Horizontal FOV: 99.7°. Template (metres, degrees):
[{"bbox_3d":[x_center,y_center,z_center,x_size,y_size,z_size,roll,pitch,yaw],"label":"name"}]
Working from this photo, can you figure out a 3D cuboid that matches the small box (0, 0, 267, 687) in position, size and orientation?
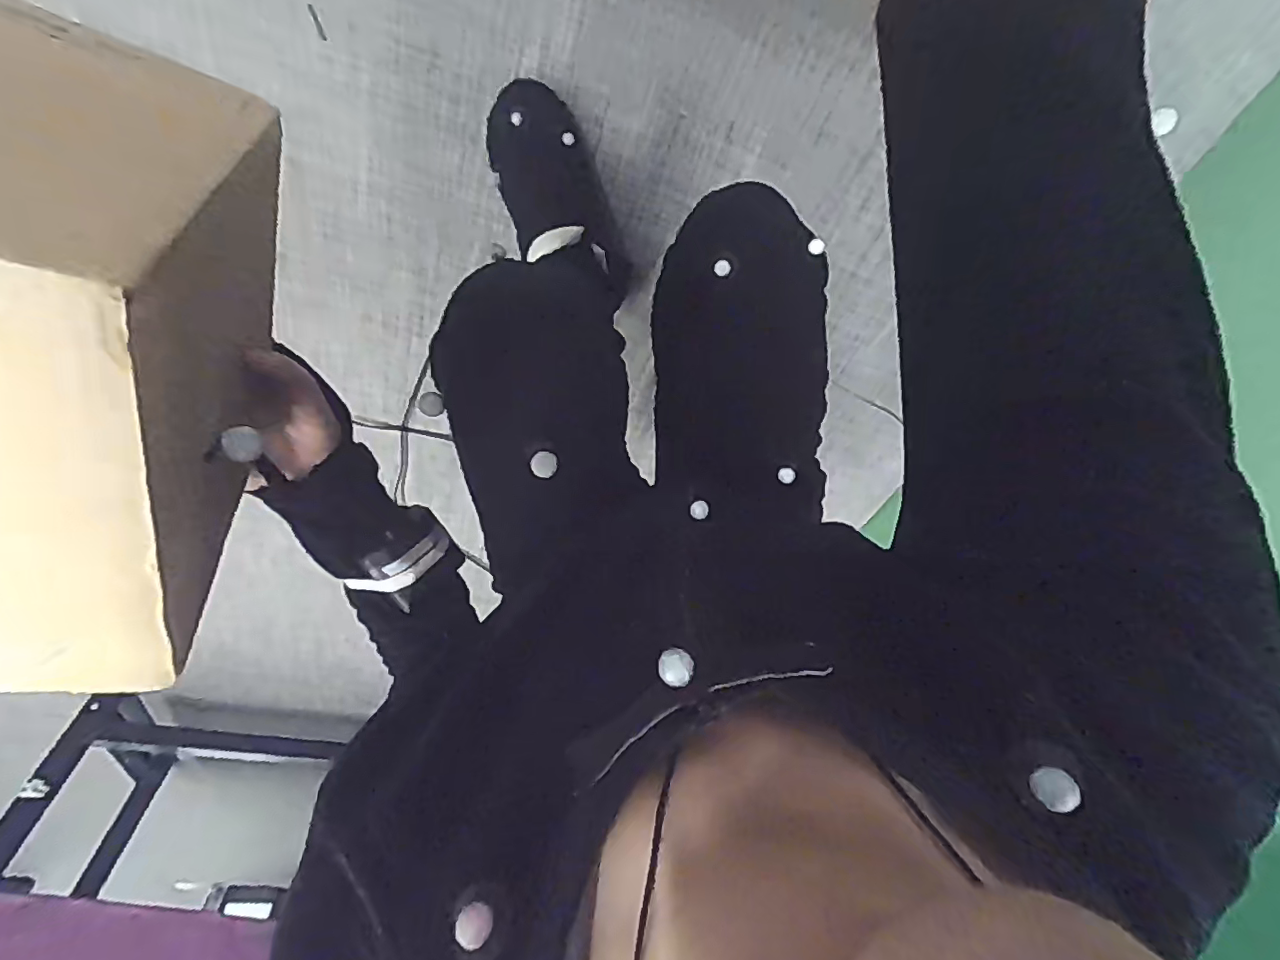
[{"bbox_3d":[-0.233,-0.053,0.170,0.168,0.176,0.179,9,130,-29],"label":"small box"}]
